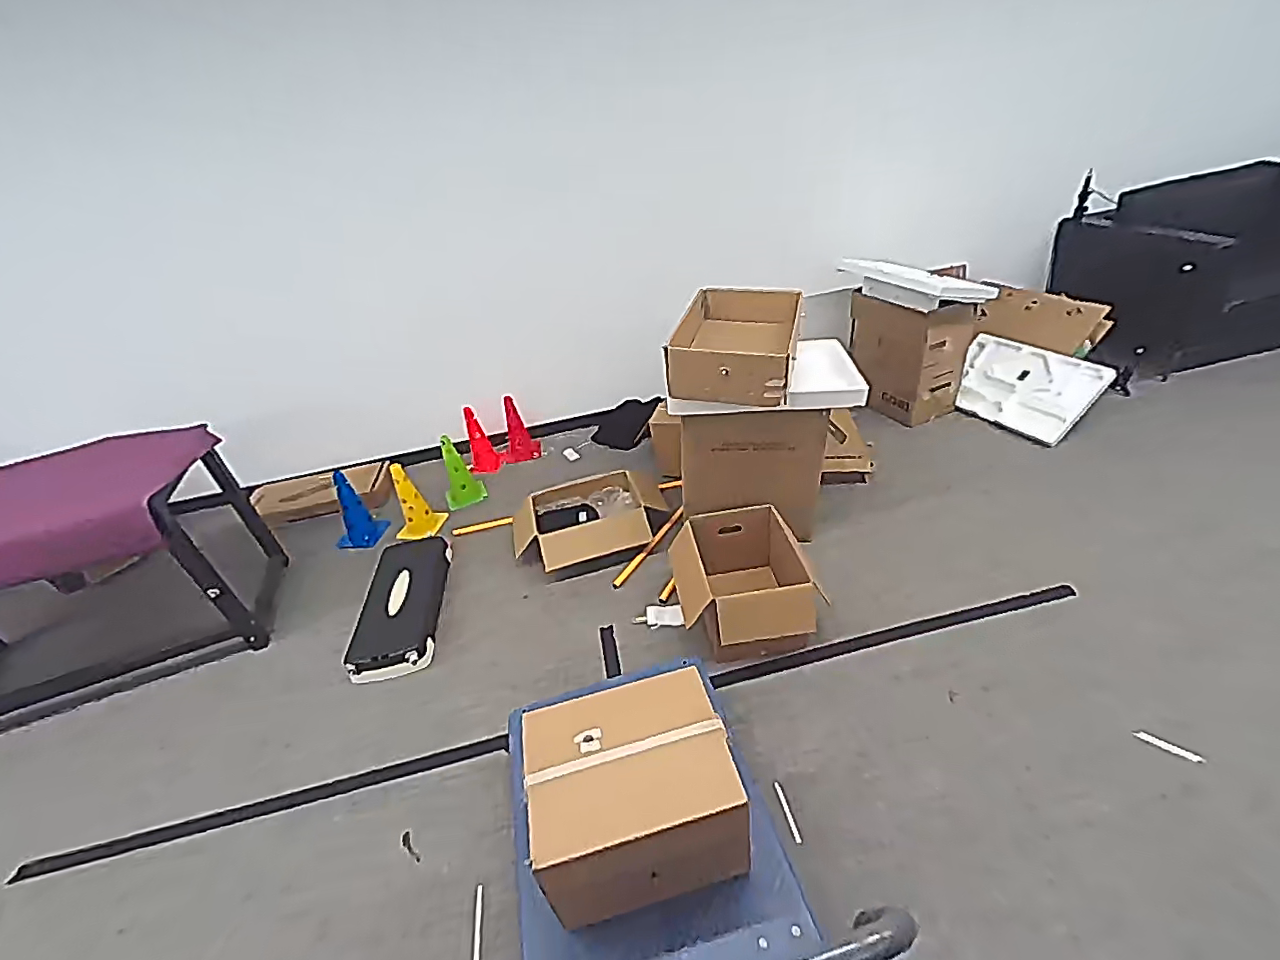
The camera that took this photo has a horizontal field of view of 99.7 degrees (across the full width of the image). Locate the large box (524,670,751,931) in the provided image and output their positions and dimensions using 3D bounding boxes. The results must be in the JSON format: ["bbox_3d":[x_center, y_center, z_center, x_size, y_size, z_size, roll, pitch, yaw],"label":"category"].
[{"bbox_3d":[-0.007,0.685,1.177,0.408,0.320,0.320,-15,33,-7],"label":"large box"}]
